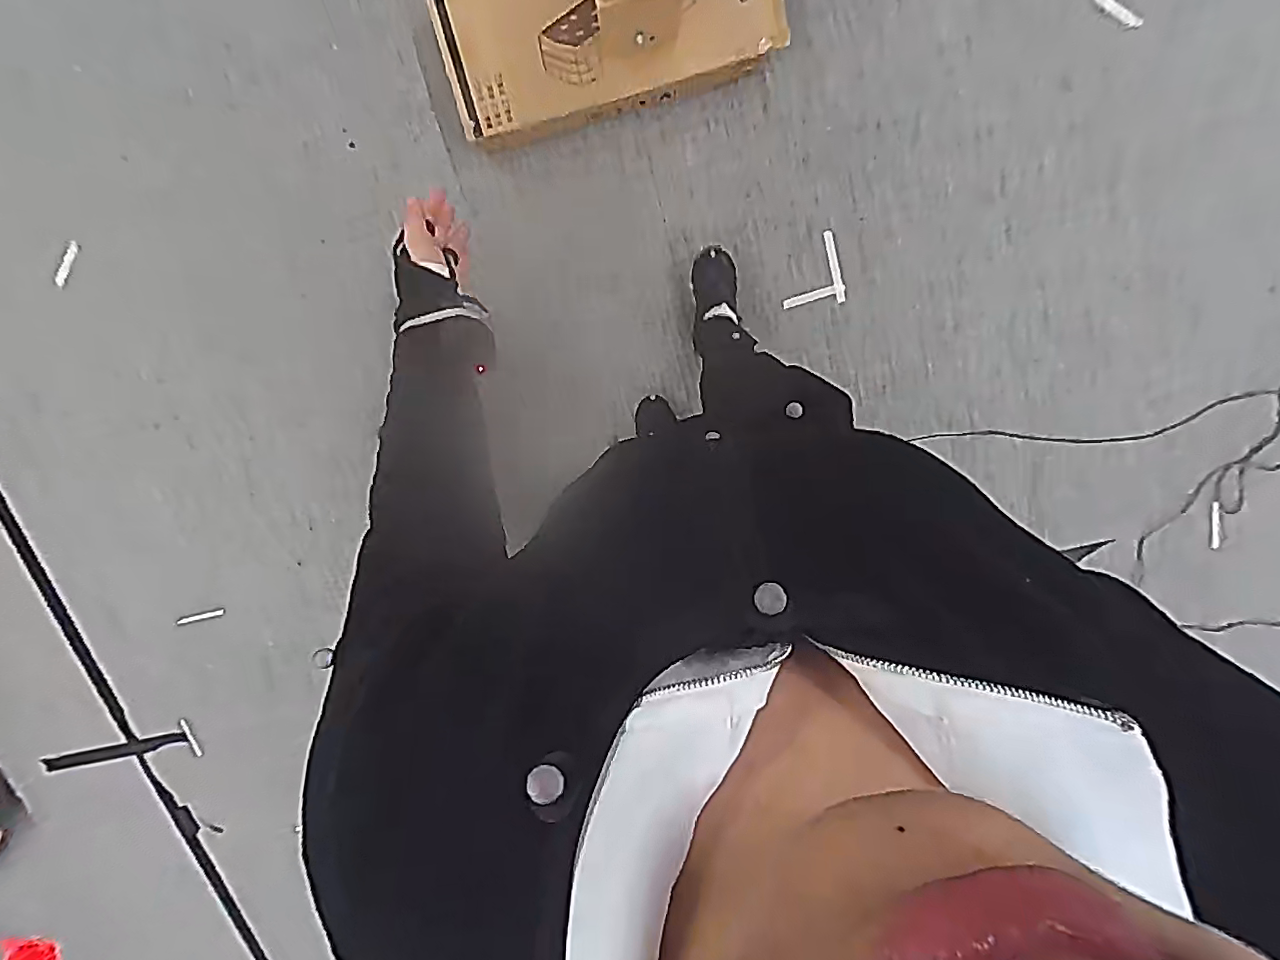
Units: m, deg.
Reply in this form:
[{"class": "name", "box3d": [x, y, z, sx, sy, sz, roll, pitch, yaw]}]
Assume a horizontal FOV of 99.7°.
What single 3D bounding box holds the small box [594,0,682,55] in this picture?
[{"class": "small box", "box3d": [-0.015, -0.998, 1.071, 0.168, 0.176, 0.179, -10, 104, 4]}]
